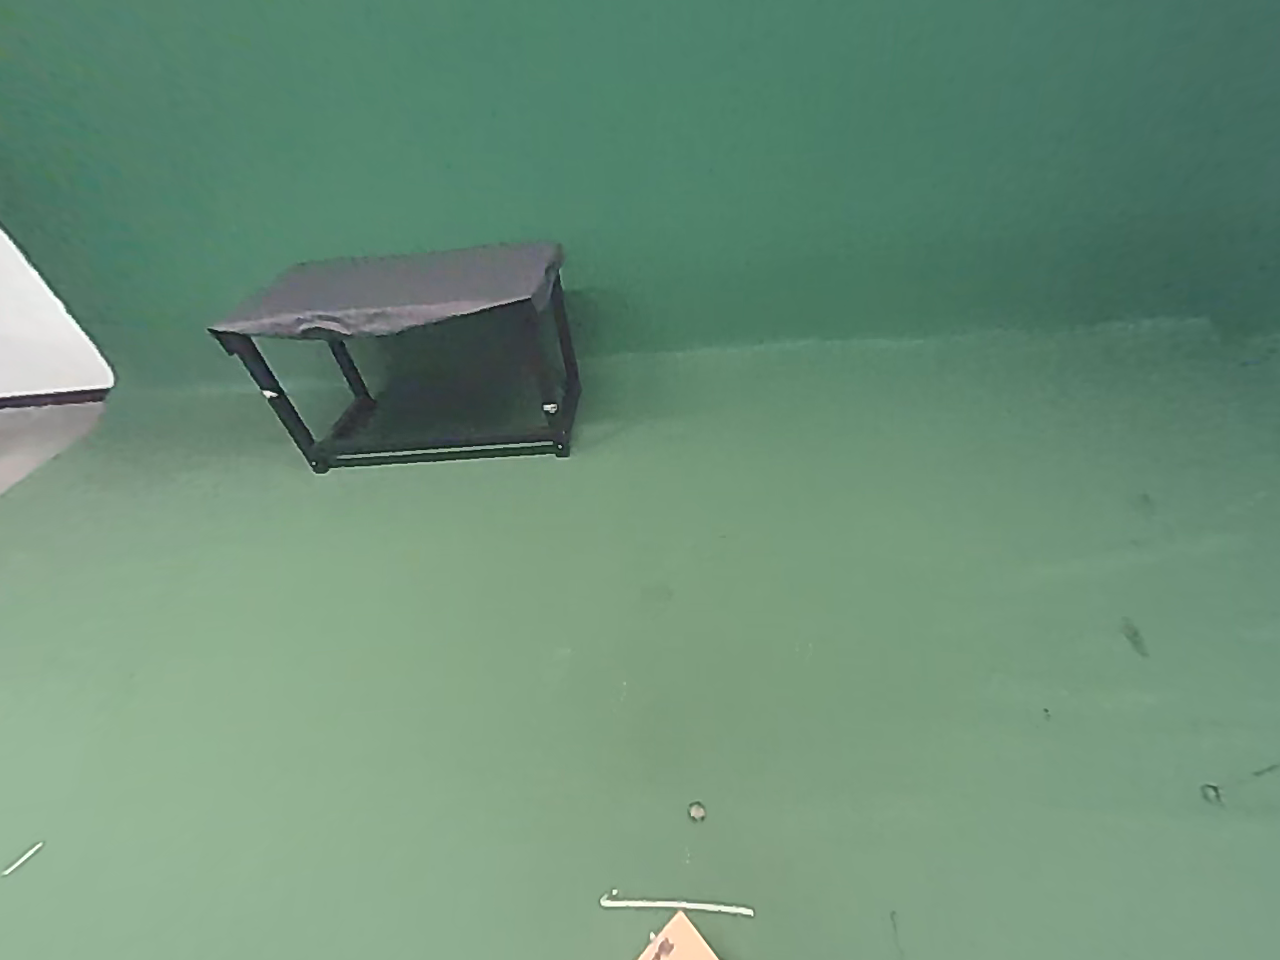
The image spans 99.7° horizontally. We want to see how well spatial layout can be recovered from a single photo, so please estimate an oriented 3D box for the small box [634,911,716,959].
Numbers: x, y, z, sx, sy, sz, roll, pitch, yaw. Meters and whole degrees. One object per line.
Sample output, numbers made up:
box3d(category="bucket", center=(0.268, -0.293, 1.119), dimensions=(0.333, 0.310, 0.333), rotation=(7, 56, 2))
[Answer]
box3d(category="small box", center=(0.073, 0.914, 0.942), dimensions=(0.168, 0.176, 0.179), rotation=(-33, 46, -27))
